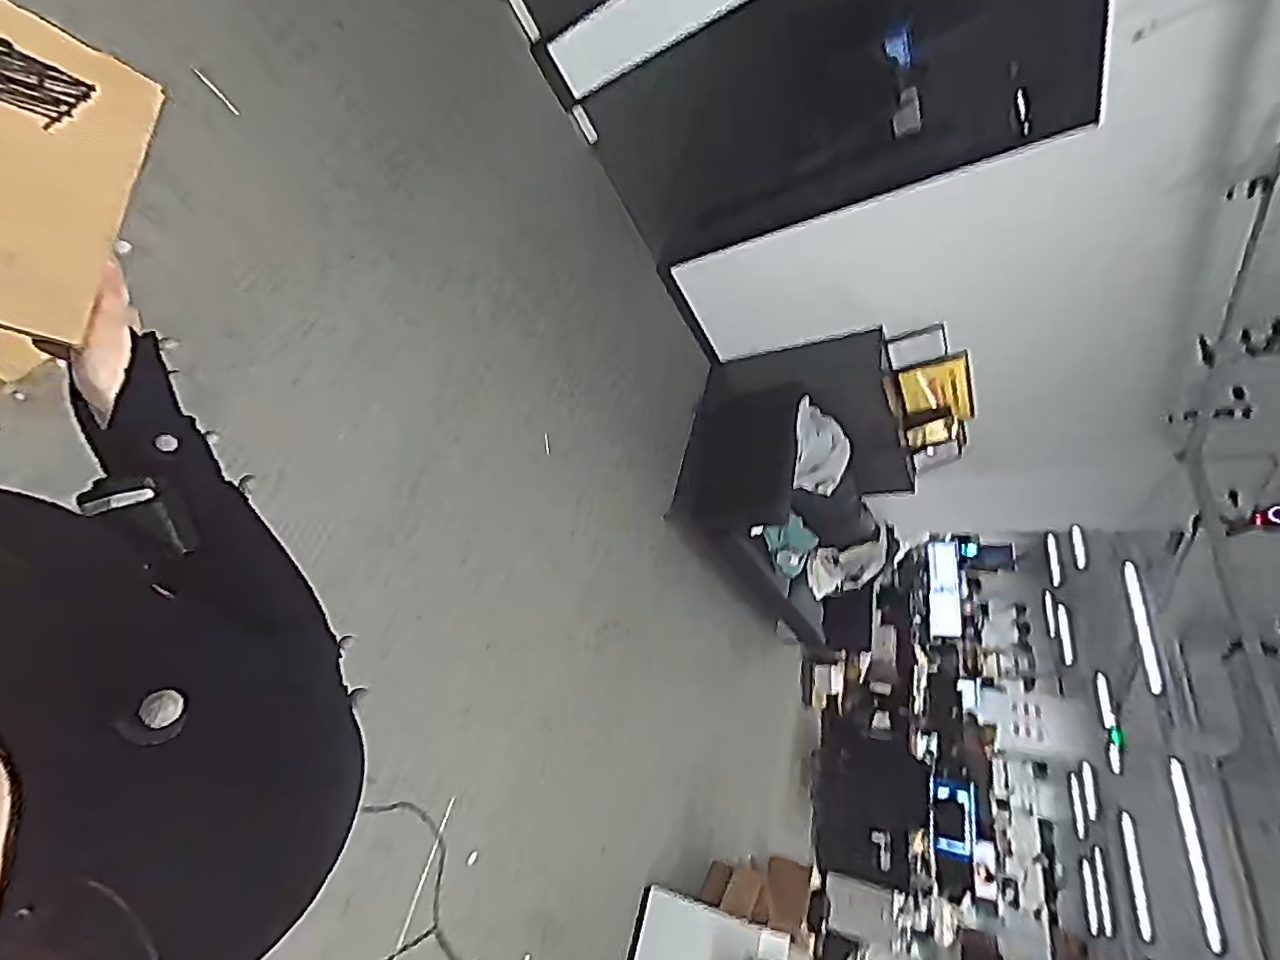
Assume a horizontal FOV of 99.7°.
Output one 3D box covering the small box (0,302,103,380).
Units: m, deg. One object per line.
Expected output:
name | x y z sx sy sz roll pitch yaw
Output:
small box | -1.052 -0.274 0.874 0.168 0.176 0.179 57 43 -37

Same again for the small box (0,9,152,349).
small box | -0.448 -0.197 0.333 0.168 0.176 0.179 17 88 -52
